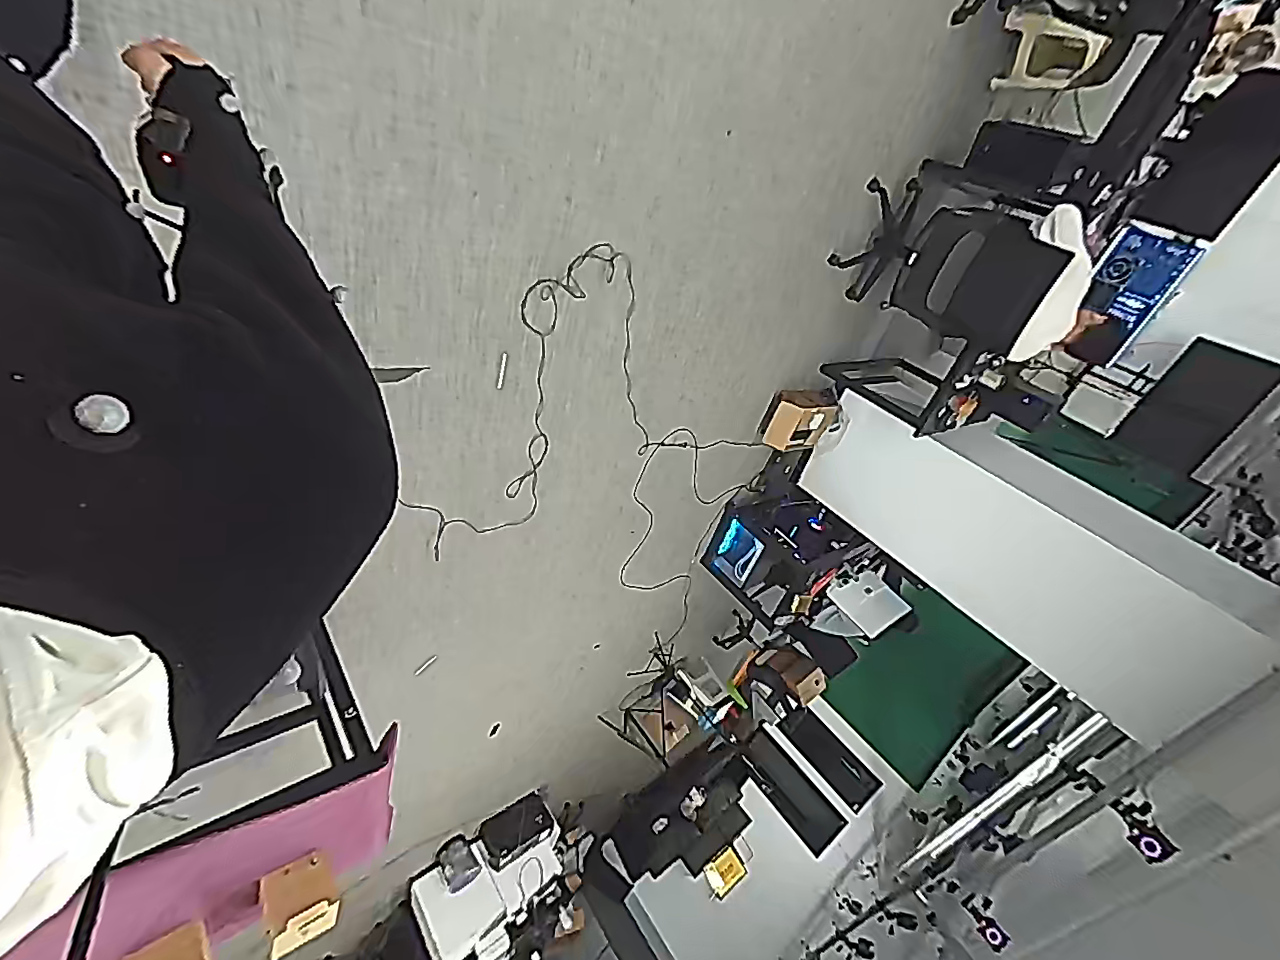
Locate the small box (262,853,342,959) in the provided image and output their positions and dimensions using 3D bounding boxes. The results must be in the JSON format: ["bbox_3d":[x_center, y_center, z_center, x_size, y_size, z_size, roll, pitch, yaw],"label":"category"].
[{"bbox_3d":[-1.009,1.259,1.610,0.168,0.176,0.179,-6,129,-44],"label":"small box"}]
